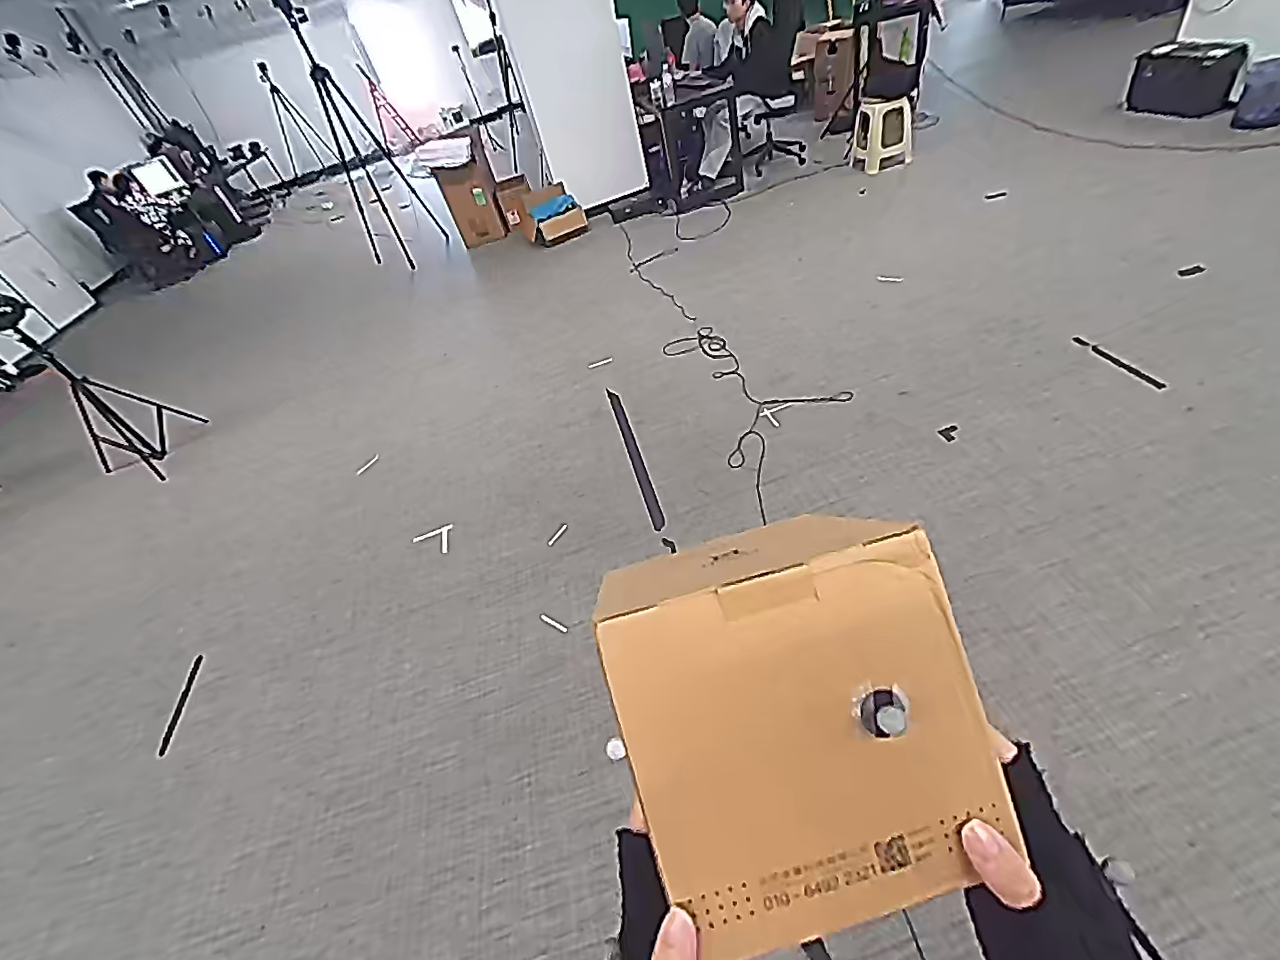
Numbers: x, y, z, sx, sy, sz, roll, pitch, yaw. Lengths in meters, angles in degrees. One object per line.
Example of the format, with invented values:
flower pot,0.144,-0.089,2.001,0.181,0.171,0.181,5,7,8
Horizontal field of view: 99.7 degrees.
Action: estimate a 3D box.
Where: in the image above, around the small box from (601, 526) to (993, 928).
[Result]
small box,0.081,0.137,0.347,0.168,0.176,0.179,-16,-3,-1
